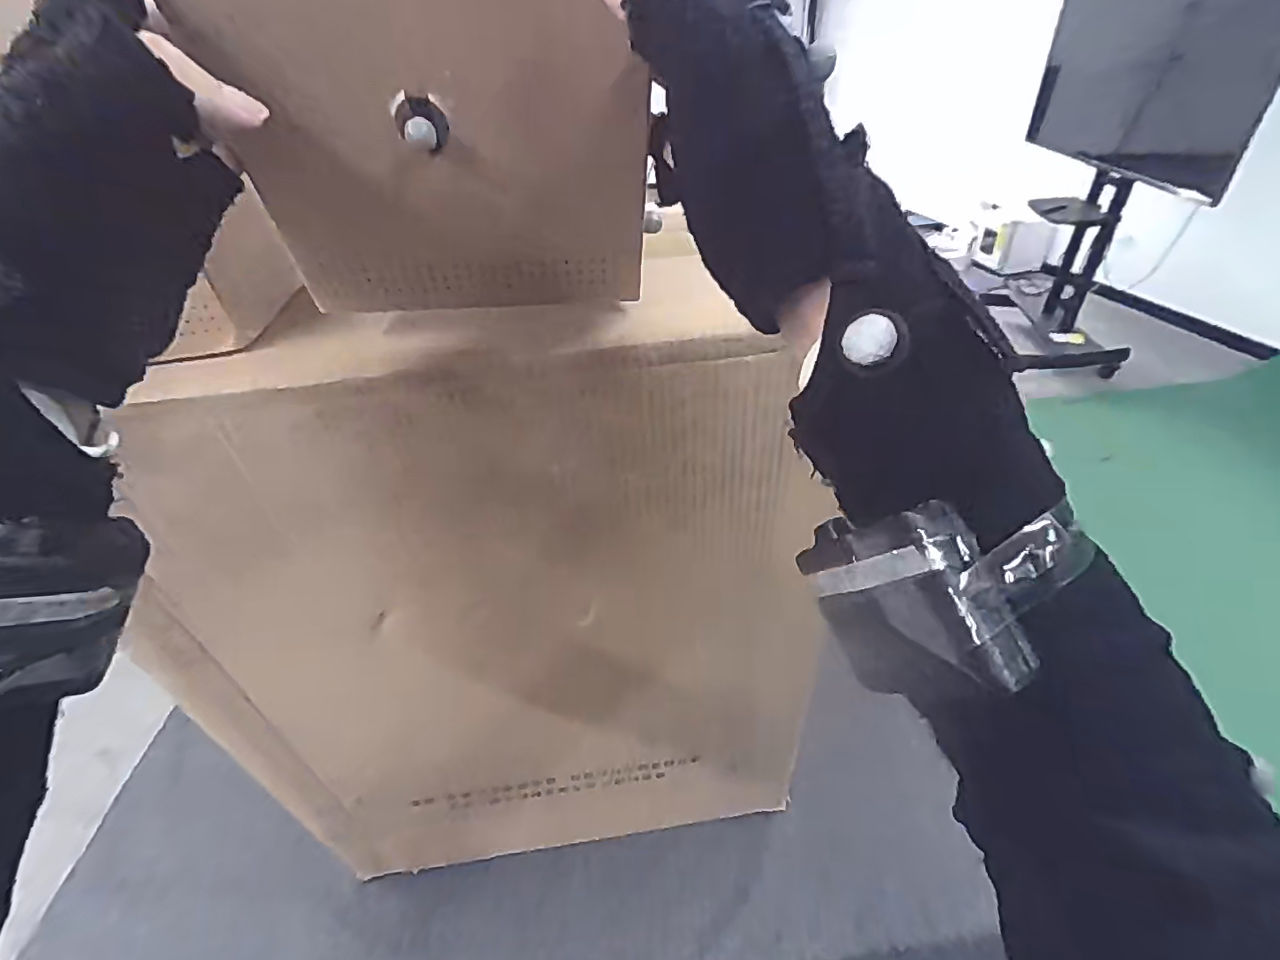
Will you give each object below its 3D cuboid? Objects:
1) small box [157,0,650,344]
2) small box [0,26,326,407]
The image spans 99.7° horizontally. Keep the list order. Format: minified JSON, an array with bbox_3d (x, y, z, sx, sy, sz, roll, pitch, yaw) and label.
[{"bbox_3d":[-0.095,-0.193,0.302,0.179,0.176,0.168,-4,55,-6],"label":"small box"},{"bbox_3d":[-0.320,-0.157,0.333,0.168,0.176,0.179,-12,39,-6],"label":"small box"}]
